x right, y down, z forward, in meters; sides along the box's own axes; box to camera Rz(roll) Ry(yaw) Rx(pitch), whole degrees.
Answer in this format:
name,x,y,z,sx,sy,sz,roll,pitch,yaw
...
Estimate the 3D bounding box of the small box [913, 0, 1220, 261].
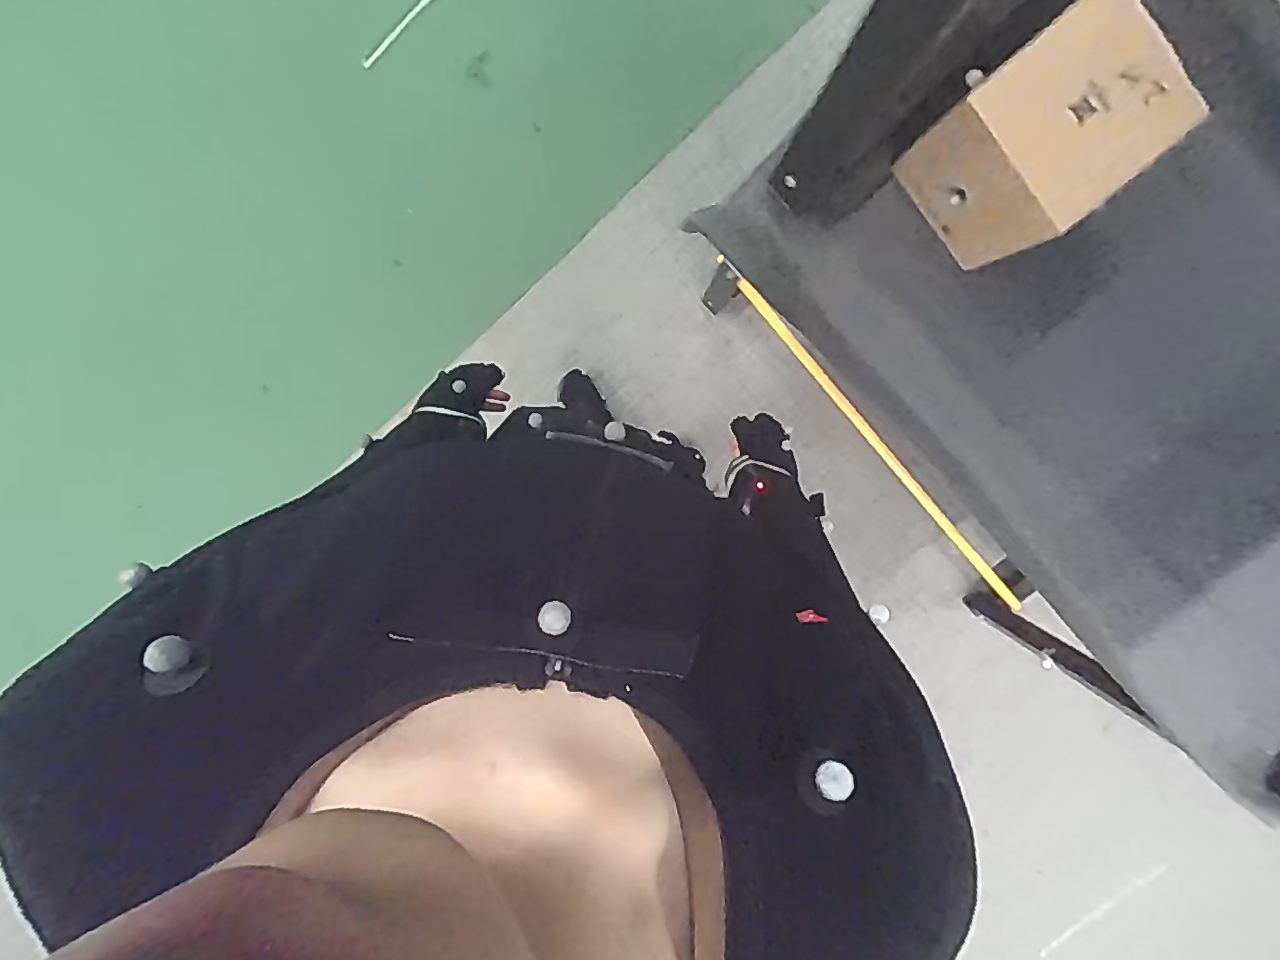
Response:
name,x,y,z,sx,sy,sz,roll,pitch,yaw
small box,0.434,-0.372,0.590,0.179,0.176,0.168,-39,97,6
